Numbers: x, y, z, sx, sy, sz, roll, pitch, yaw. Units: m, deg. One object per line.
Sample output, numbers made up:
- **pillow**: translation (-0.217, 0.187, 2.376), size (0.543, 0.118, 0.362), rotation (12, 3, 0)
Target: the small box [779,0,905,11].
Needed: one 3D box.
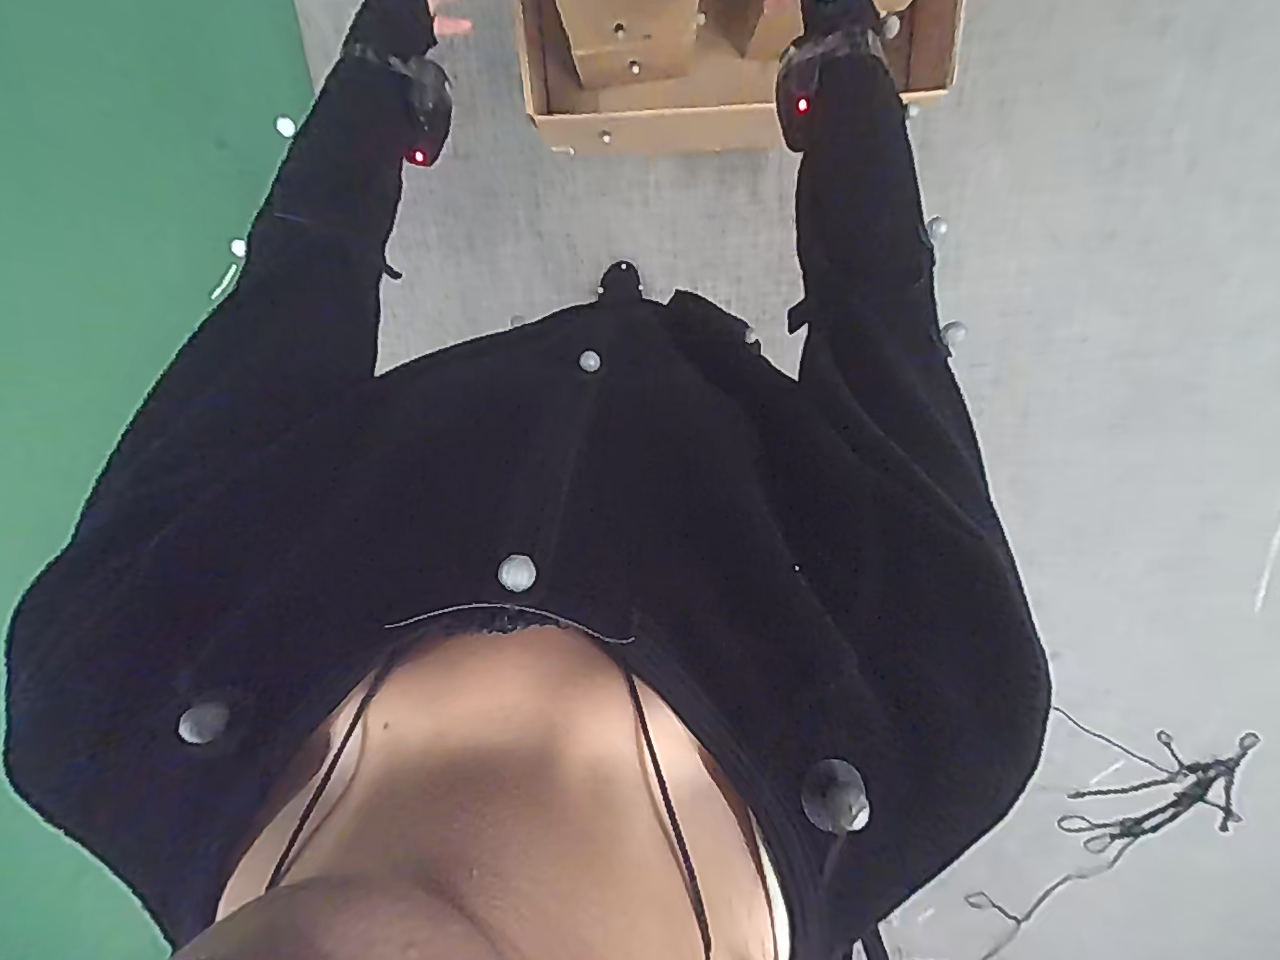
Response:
- **small box**: translation (0.260, -0.665, 0.606), size (0.179, 0.176, 0.168), rotation (1, 109, 1)
